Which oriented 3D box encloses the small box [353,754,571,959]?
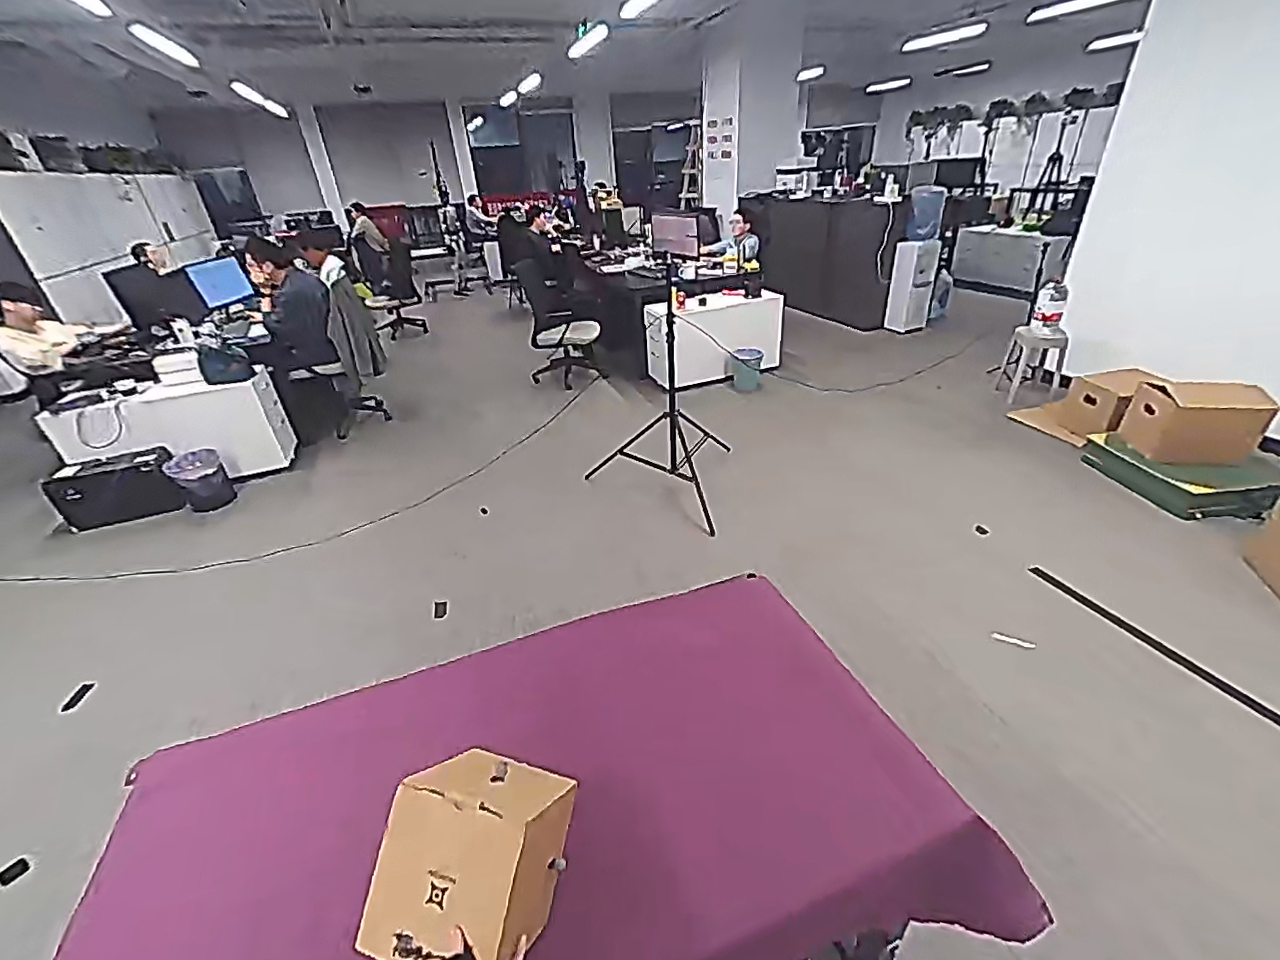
[{"bbox_3d":[-0.197,0.456,0.653,0.168,0.176,0.179,9,78,16],"label":"small box"}]
